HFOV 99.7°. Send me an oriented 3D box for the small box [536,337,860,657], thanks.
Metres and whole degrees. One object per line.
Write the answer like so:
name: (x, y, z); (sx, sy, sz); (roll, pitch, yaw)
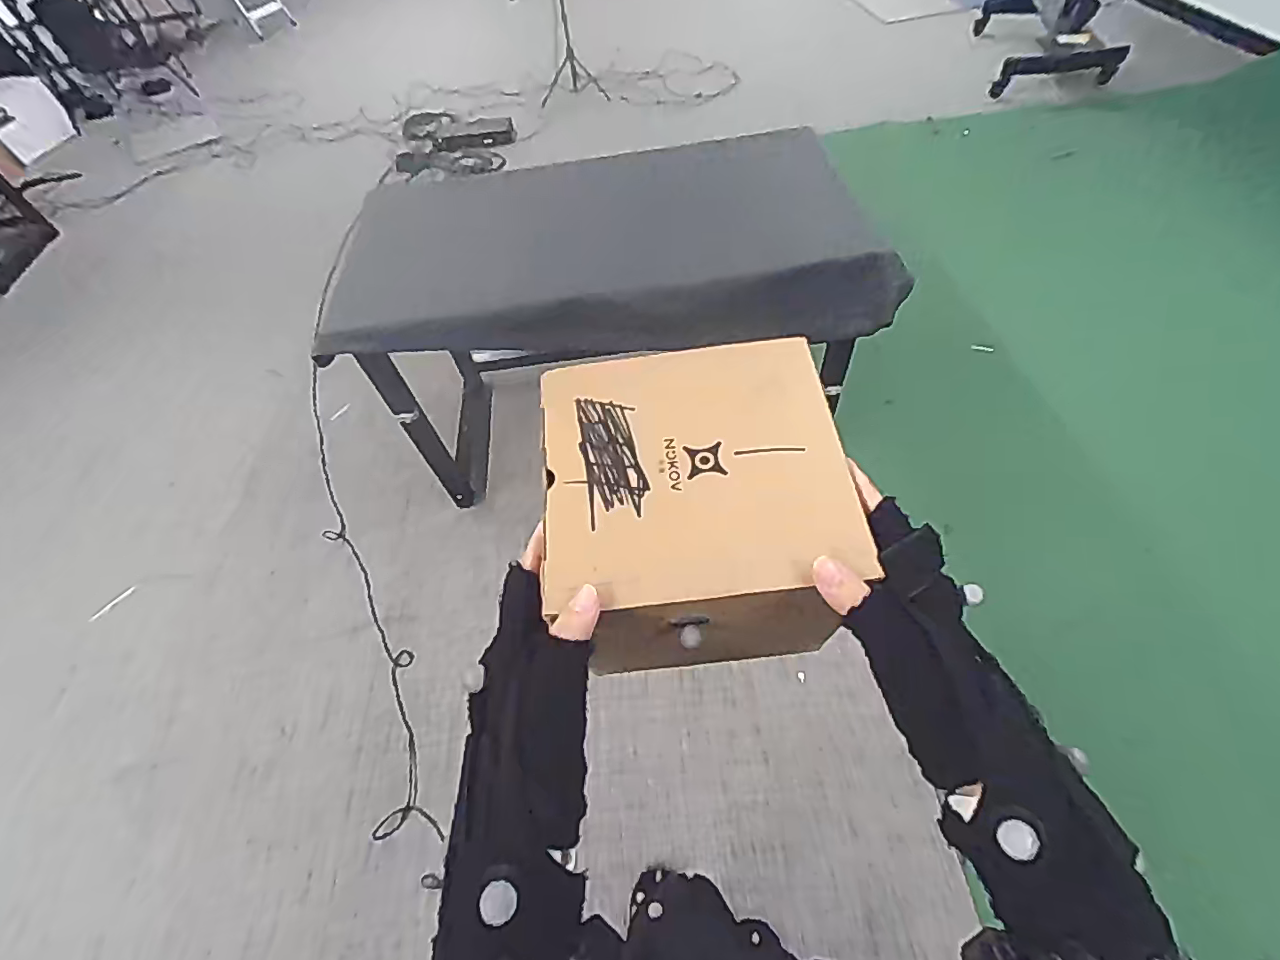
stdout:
small box: (0.031, 0.024, 0.393); (0.179, 0.176, 0.168); (-6, 60, 1)
